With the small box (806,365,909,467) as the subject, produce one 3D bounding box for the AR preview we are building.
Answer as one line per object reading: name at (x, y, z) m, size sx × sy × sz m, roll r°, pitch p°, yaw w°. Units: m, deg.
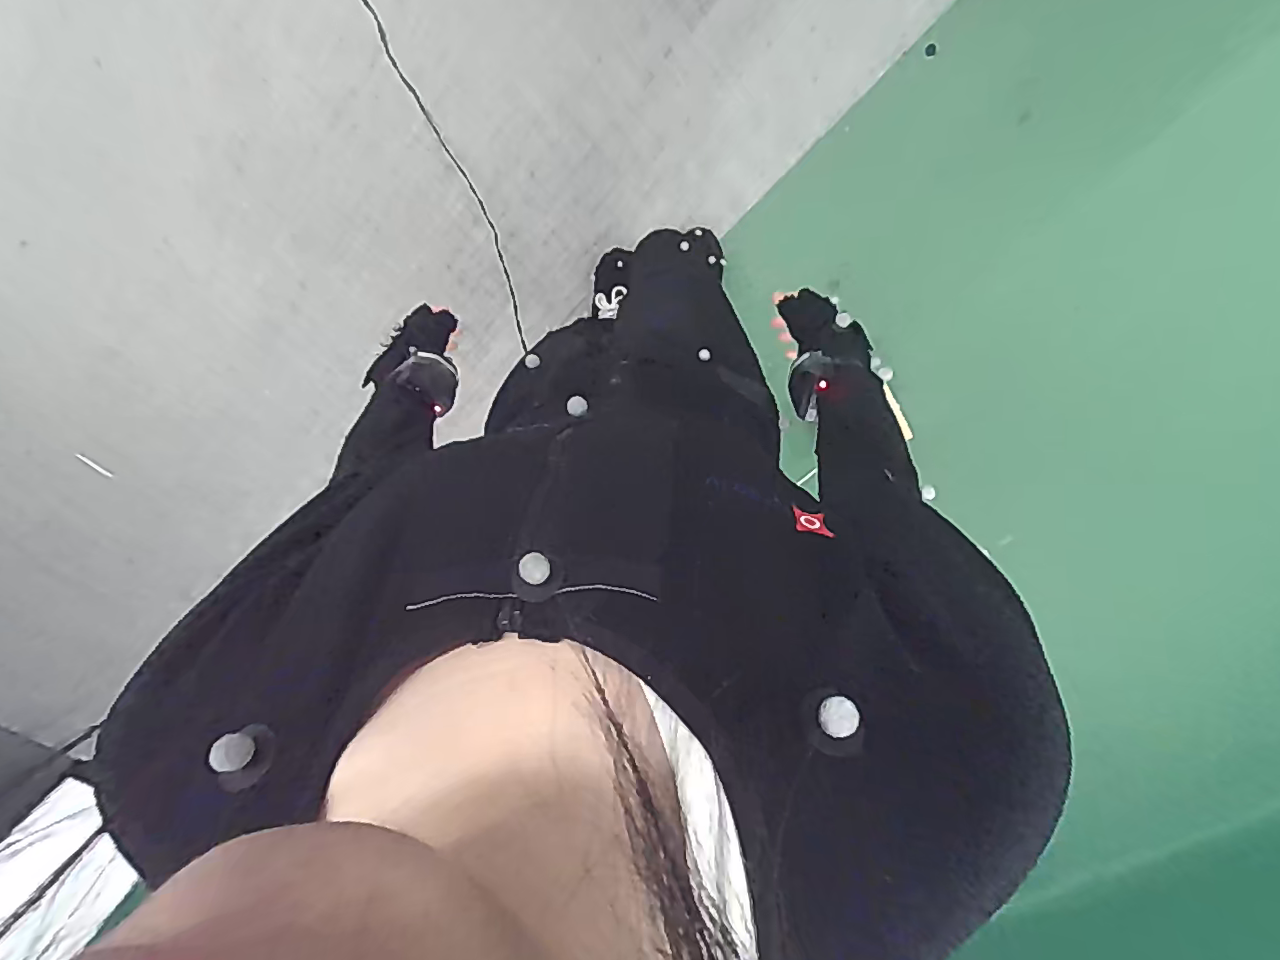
small box at (0.556, -0.170, 1.399) m, size 0.168 × 0.176 × 0.179 m, roll -31°, pitch 110°, yaw 15°
